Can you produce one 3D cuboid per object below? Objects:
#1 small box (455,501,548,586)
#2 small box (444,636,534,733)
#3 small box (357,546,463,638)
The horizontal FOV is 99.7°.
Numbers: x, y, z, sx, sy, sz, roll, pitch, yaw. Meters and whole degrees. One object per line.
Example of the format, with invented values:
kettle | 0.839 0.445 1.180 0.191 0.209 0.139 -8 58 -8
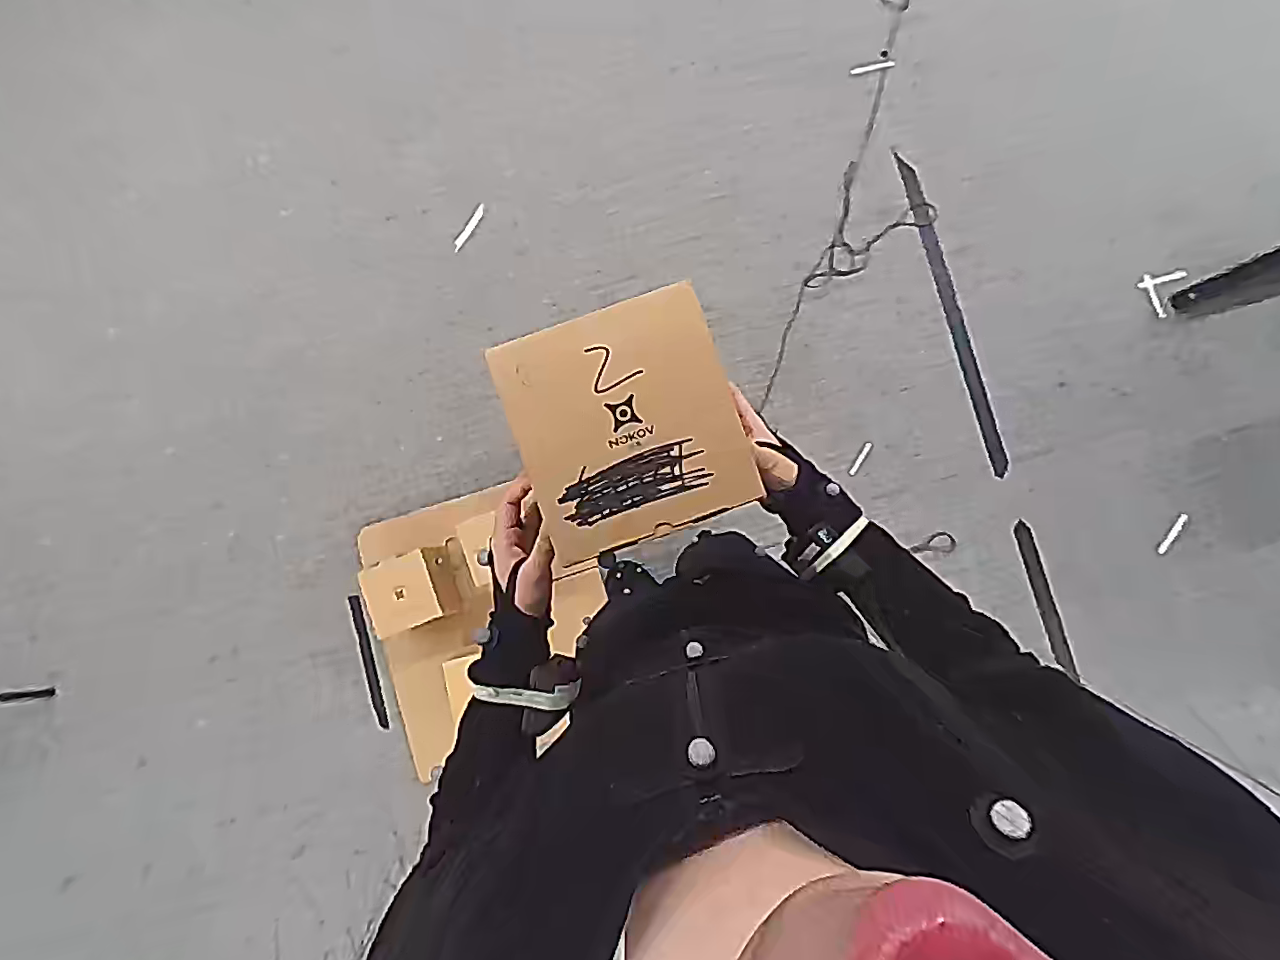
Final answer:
small box | -0.346 0.160 1.392 0.179 0.176 0.168 -21 85 -3
small box | -0.372 0.501 1.357 0.168 0.176 0.179 -14 86 -3
small box | -0.578 0.278 1.377 0.168 0.176 0.179 -22 86 -2
